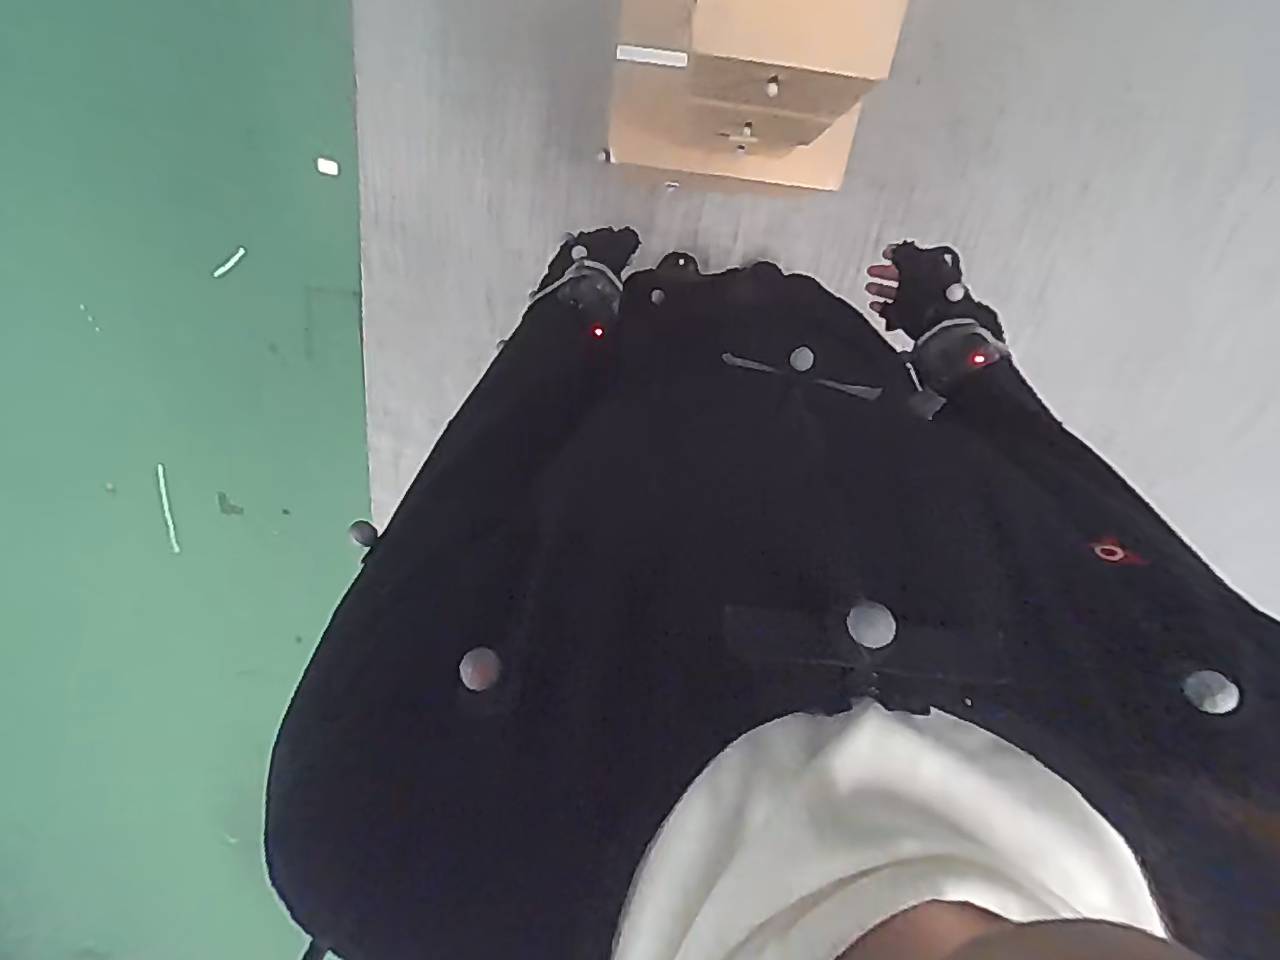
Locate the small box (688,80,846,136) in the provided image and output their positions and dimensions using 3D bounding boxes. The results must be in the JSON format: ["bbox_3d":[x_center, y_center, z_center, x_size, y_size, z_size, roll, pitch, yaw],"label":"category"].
[{"bbox_3d":[0.156,-0.527,0.652,0.179,0.176,0.168,7,115,2],"label":"small box"}]

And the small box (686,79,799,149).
[{"bbox_3d":[0.164,-0.603,0.798,0.168,0.176,0.179,8,116,3],"label":"small box"}]

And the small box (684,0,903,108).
[{"bbox_3d":[0.142,-0.467,0.502,0.179,0.176,0.168,10,116,1],"label":"small box"}]
